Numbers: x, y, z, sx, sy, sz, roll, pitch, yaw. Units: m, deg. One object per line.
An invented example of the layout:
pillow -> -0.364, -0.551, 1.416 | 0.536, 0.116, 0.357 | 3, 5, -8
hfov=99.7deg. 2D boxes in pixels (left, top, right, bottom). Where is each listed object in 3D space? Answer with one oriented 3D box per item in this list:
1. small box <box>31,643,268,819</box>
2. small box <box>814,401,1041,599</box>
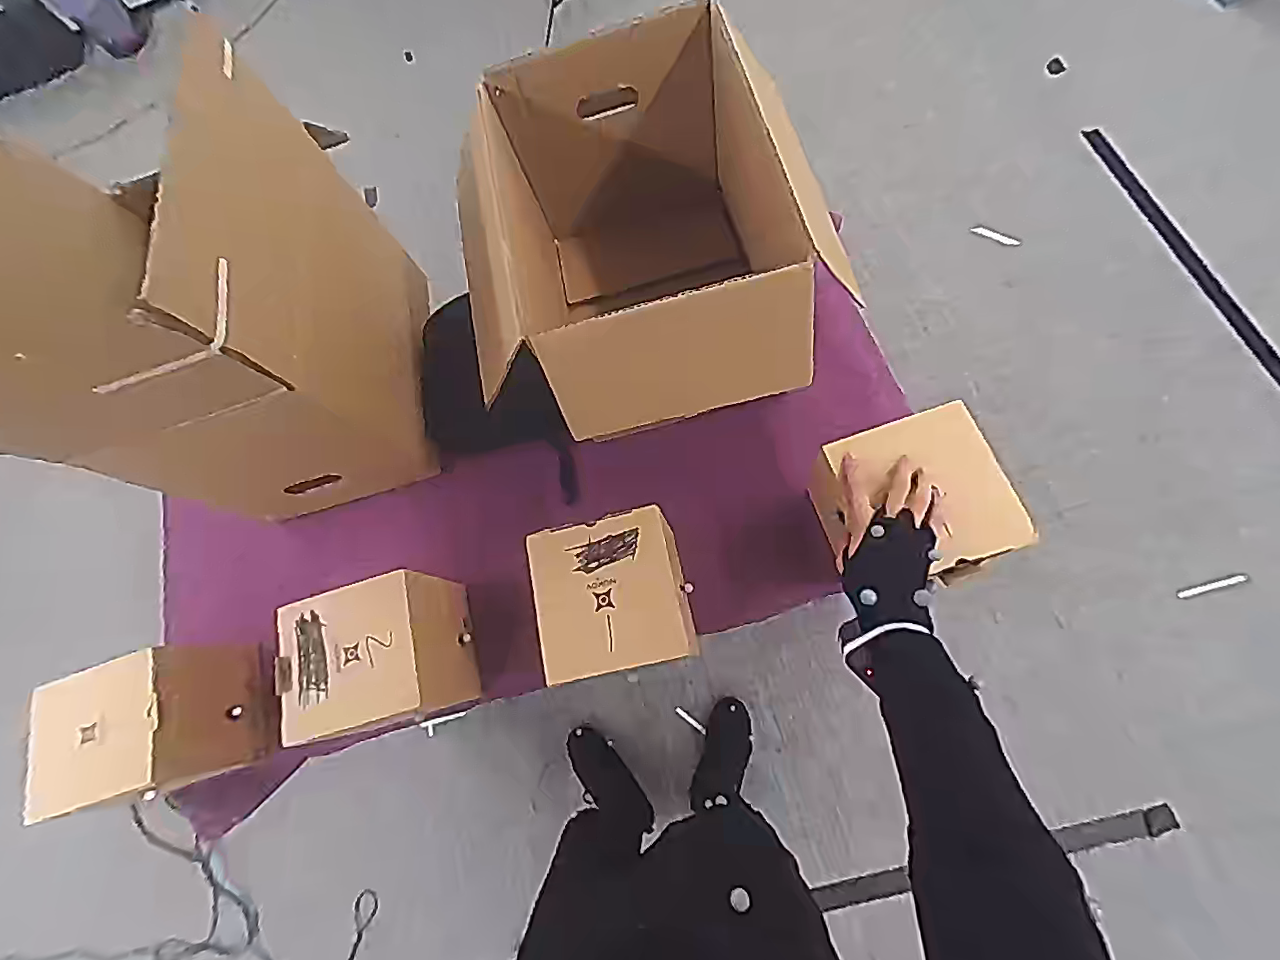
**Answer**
small box -> -0.661, 0.335, 0.748 | 0.179, 0.176, 0.168 | -19, 71, 2
small box -> 0.328, 0.035, 0.664 | 0.168, 0.176, 0.179 | -19, 70, 5
